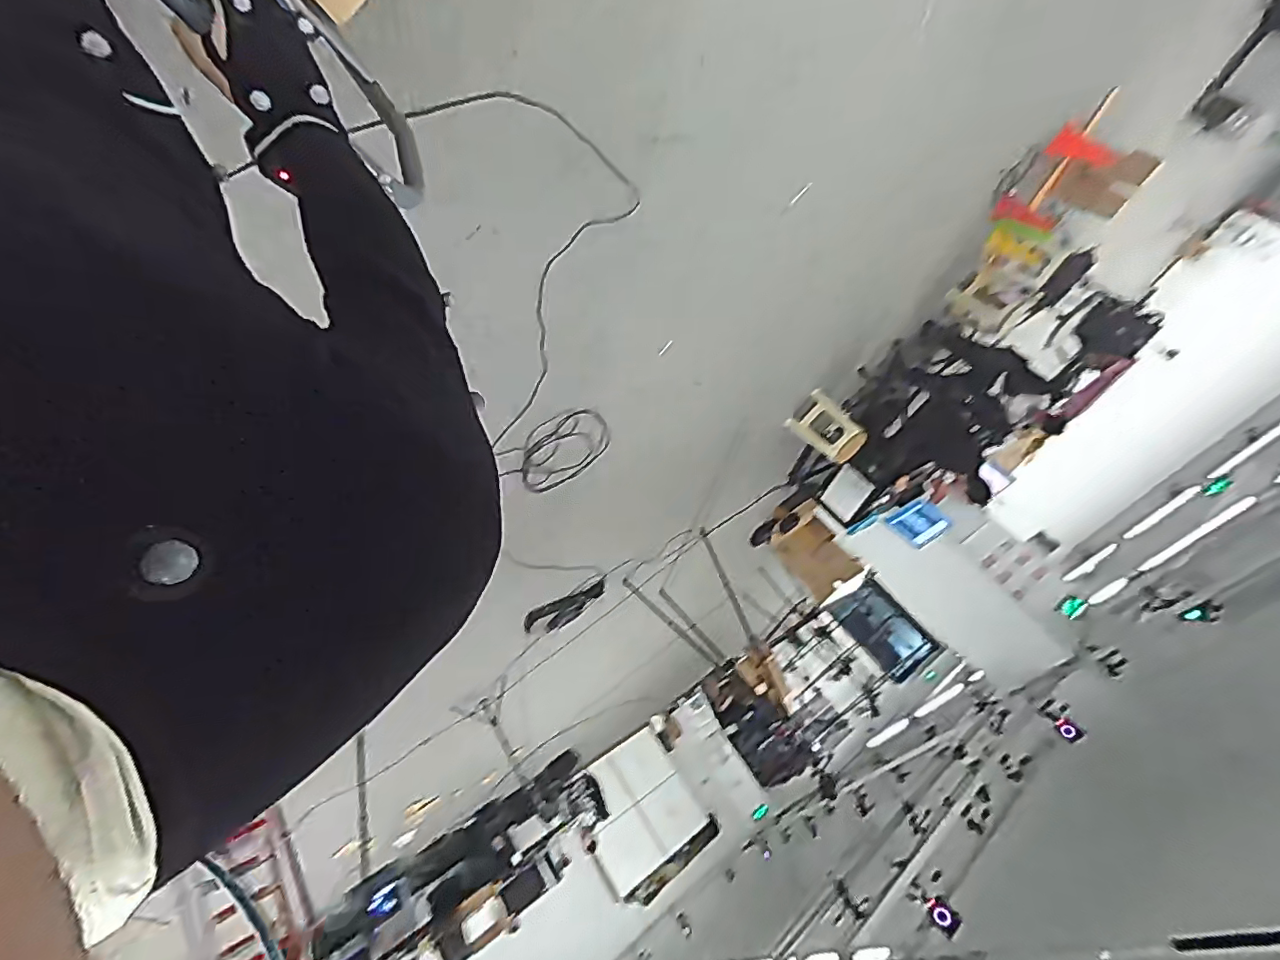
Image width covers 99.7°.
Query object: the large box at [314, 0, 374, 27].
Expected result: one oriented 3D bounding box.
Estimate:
[{"bbox_3d":[-0.436,-0.935,0.705,0.408,0.320,0.320,-44,153,6],"label":"large box"}]
